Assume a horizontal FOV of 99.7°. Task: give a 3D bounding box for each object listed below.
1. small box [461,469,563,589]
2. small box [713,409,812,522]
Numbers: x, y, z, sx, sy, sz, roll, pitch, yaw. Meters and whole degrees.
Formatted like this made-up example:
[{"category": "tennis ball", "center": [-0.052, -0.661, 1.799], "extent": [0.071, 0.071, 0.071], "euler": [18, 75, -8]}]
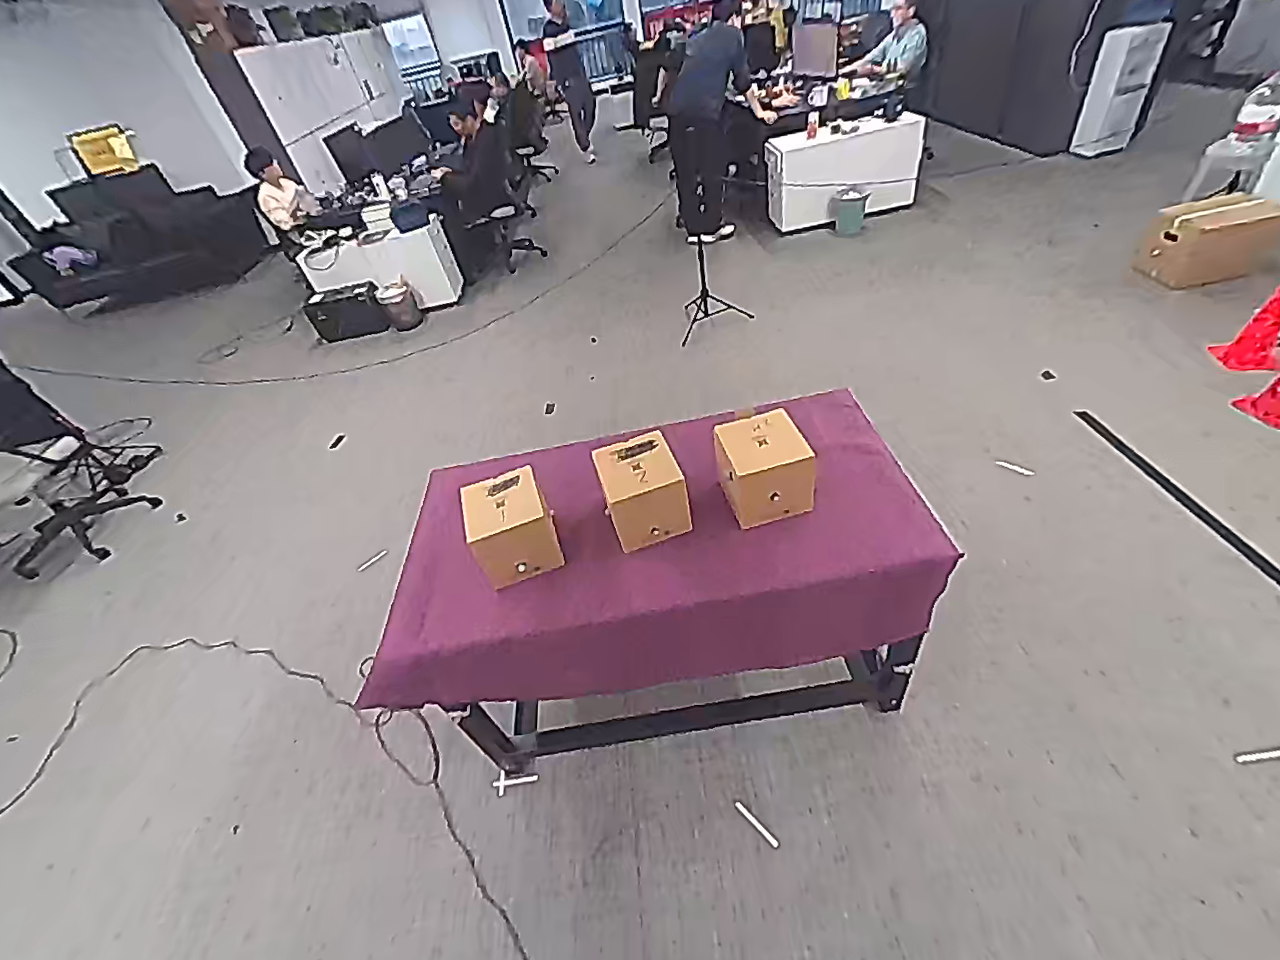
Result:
[{"category": "small box", "center": [-0.286, 0.110, 1.208], "extent": [0.168, 0.176, 0.179], "euler": [-21, 43, -7]}, {"category": "small box", "center": [0.271, -0.026, 1.201], "extent": [0.168, 0.176, 0.179], "euler": [-15, 42, -1]}]
